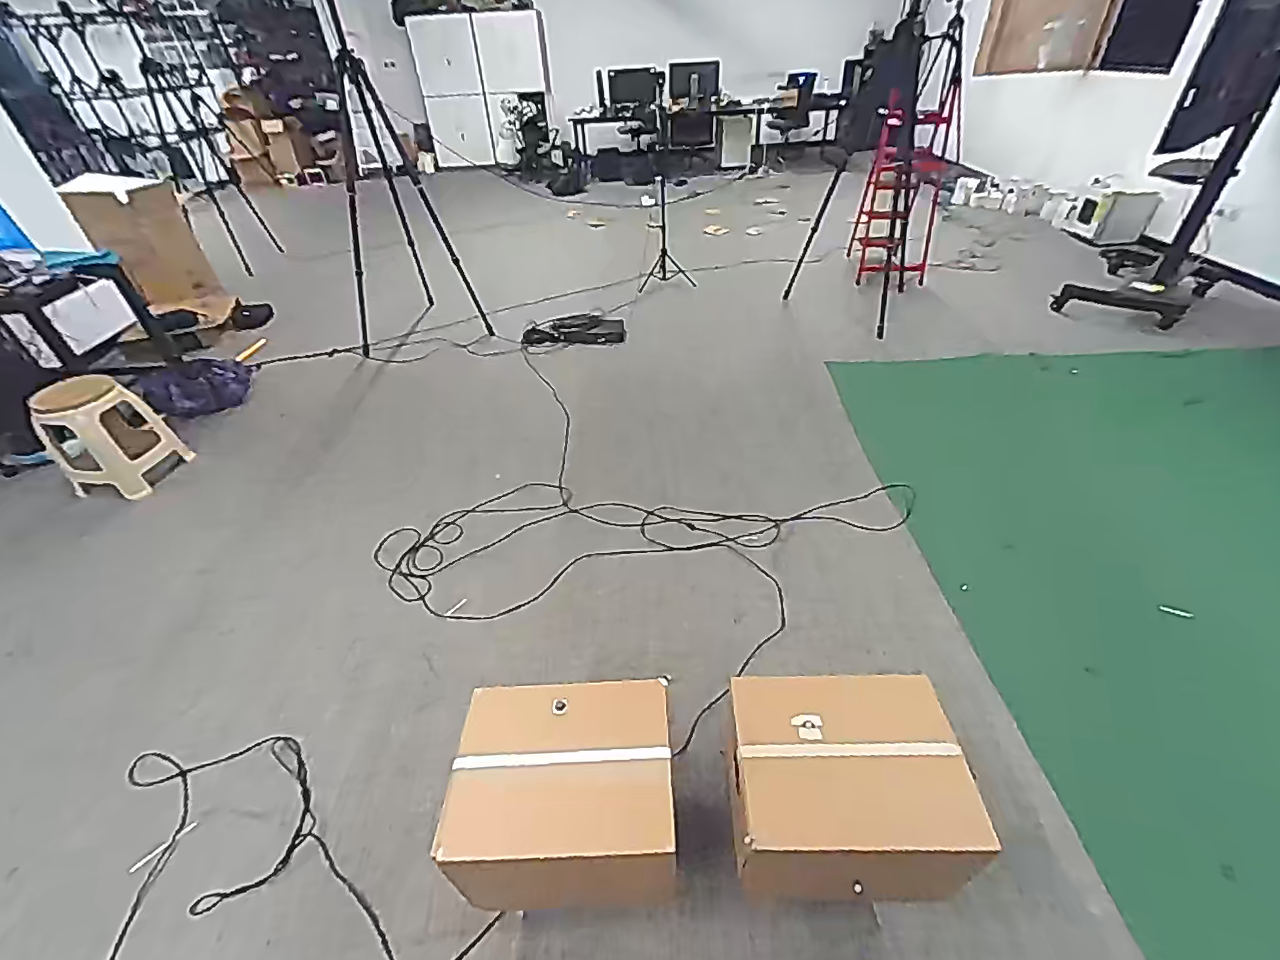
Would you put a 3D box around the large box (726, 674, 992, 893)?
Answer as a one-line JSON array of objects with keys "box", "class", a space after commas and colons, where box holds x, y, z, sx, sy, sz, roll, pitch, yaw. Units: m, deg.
[{"box": [0.397, 0.621, 1.105, 0.408, 0.320, 0.320, -2, 39, 3], "class": "large box"}]
